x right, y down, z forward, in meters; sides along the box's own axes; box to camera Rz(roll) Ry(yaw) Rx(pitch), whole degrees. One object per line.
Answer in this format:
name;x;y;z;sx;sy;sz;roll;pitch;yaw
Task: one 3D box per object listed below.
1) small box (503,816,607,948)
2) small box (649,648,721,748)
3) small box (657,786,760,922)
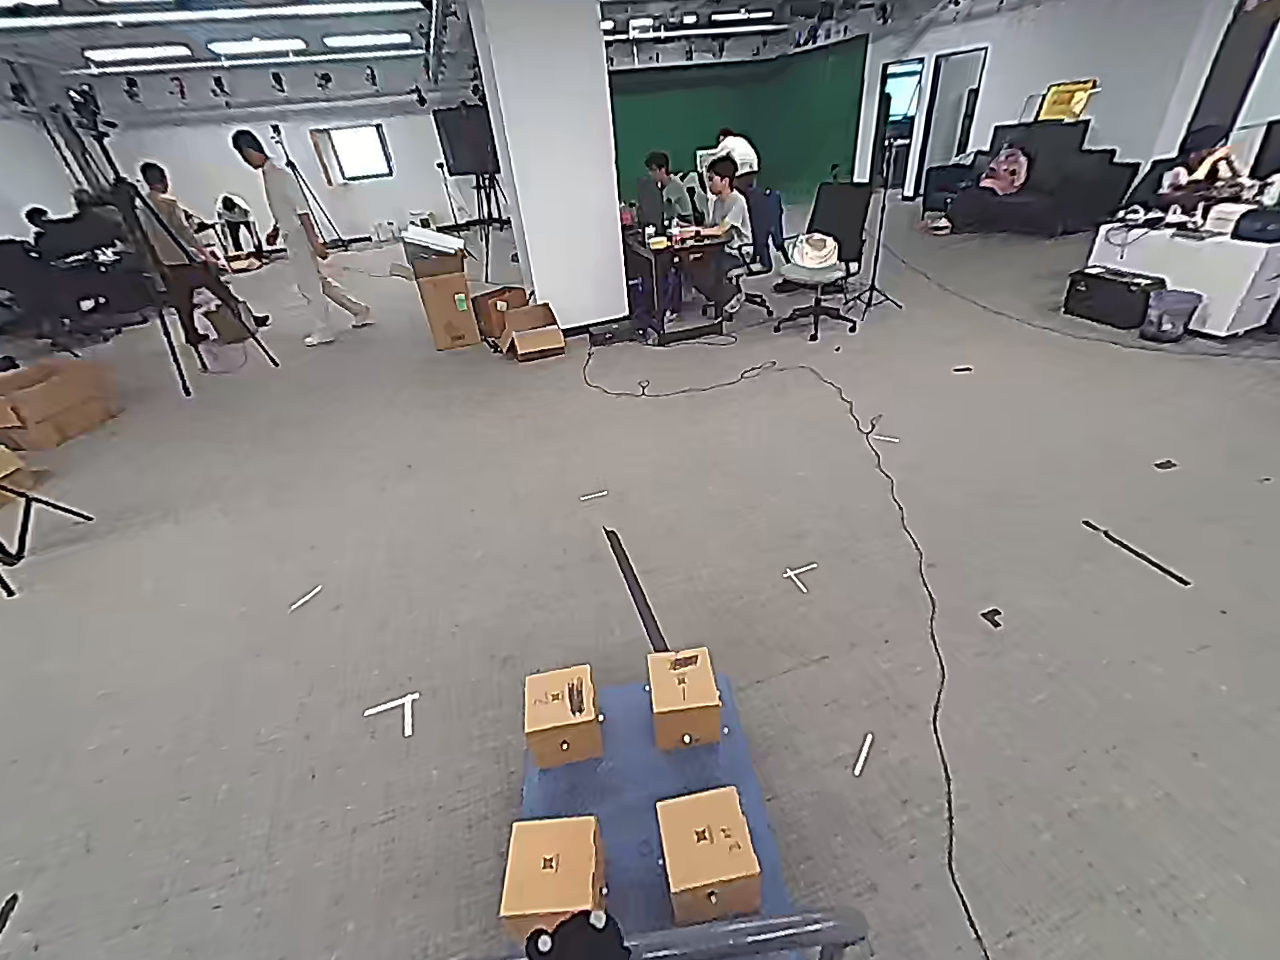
small box;-0.165;0.823;1.106;0.179;0.176;0.168;-4;32;0
small box;0.116;0.576;1.433;0.168;0.176;0.179;-7;34;-1
small box;0.141;0.777;1.122;0.179;0.176;0.168;-10;33;-4
